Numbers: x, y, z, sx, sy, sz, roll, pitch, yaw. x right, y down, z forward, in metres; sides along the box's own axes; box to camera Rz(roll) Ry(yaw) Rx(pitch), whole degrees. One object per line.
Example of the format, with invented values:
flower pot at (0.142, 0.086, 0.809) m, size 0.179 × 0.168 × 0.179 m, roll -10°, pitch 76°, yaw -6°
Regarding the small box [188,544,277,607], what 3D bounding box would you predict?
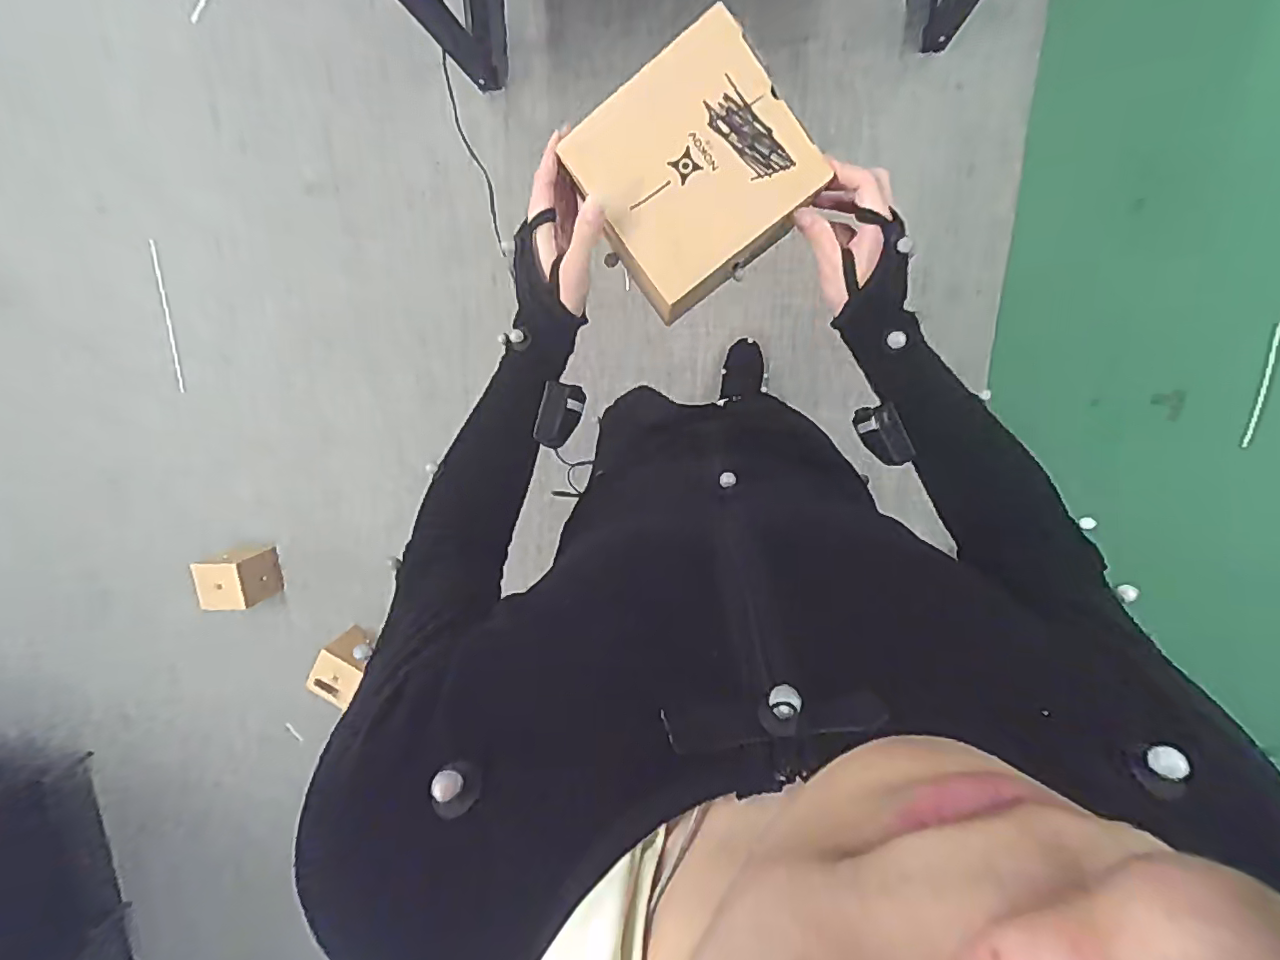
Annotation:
small box at (-1.384, 0.323, 1.854) m, size 0.179 × 0.176 × 0.168 m, roll -1°, pitch 102°, yaw 9°
